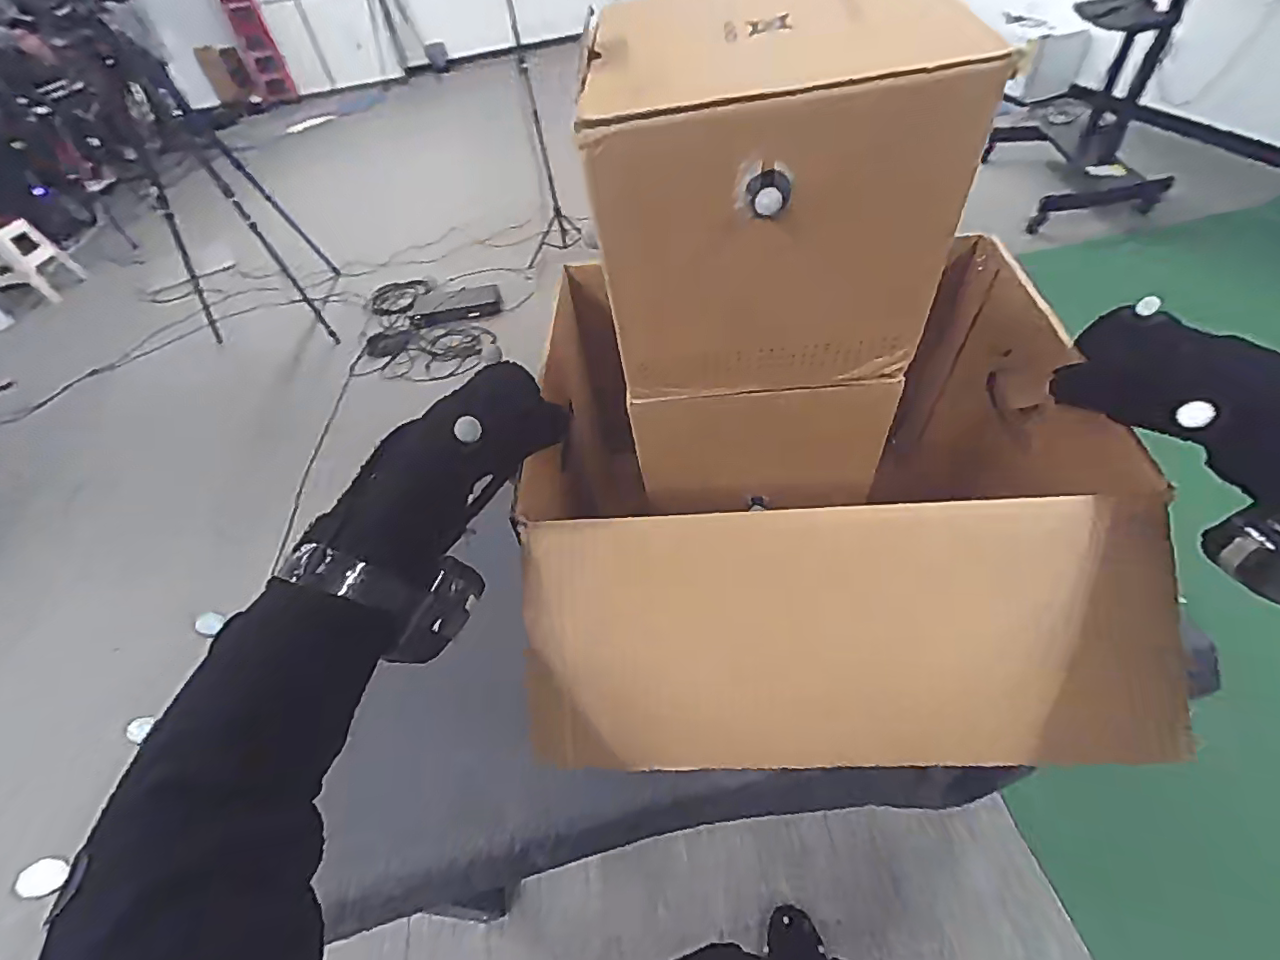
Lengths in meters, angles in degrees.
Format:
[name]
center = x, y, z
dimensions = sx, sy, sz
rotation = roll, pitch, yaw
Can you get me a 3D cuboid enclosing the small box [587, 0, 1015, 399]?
[small box]
center = 0.074, -0.165, 0.331
dimensions = 0.179, 0.176, 0.168
rotation = -3, 54, 6
